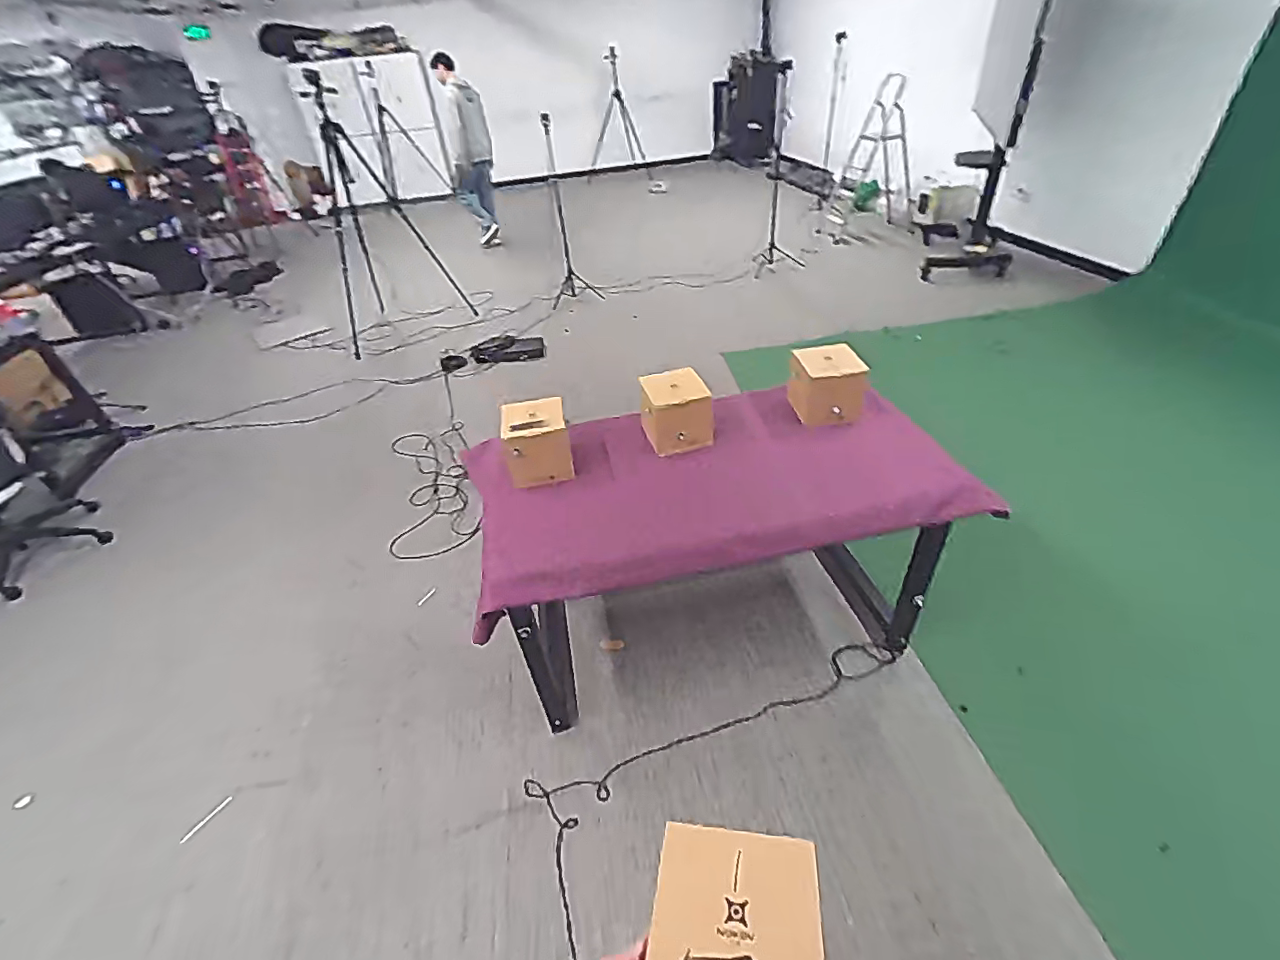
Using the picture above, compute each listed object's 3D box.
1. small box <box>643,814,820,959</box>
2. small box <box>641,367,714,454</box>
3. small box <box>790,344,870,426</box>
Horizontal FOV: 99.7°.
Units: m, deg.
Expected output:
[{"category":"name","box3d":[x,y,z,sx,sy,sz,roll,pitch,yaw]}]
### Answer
[{"category":"small box","box3d":[0.103,0.498,0.571,0.168,0.176,0.179,-1,28,13]},{"category":"small box","box3d":[0.104,-0.200,1.549,0.168,0.176,0.179,-13,41,-9]},{"category":"small box","box3d":[0.548,-0.280,1.587,0.168,0.176,0.179,-7,40,0]}]
